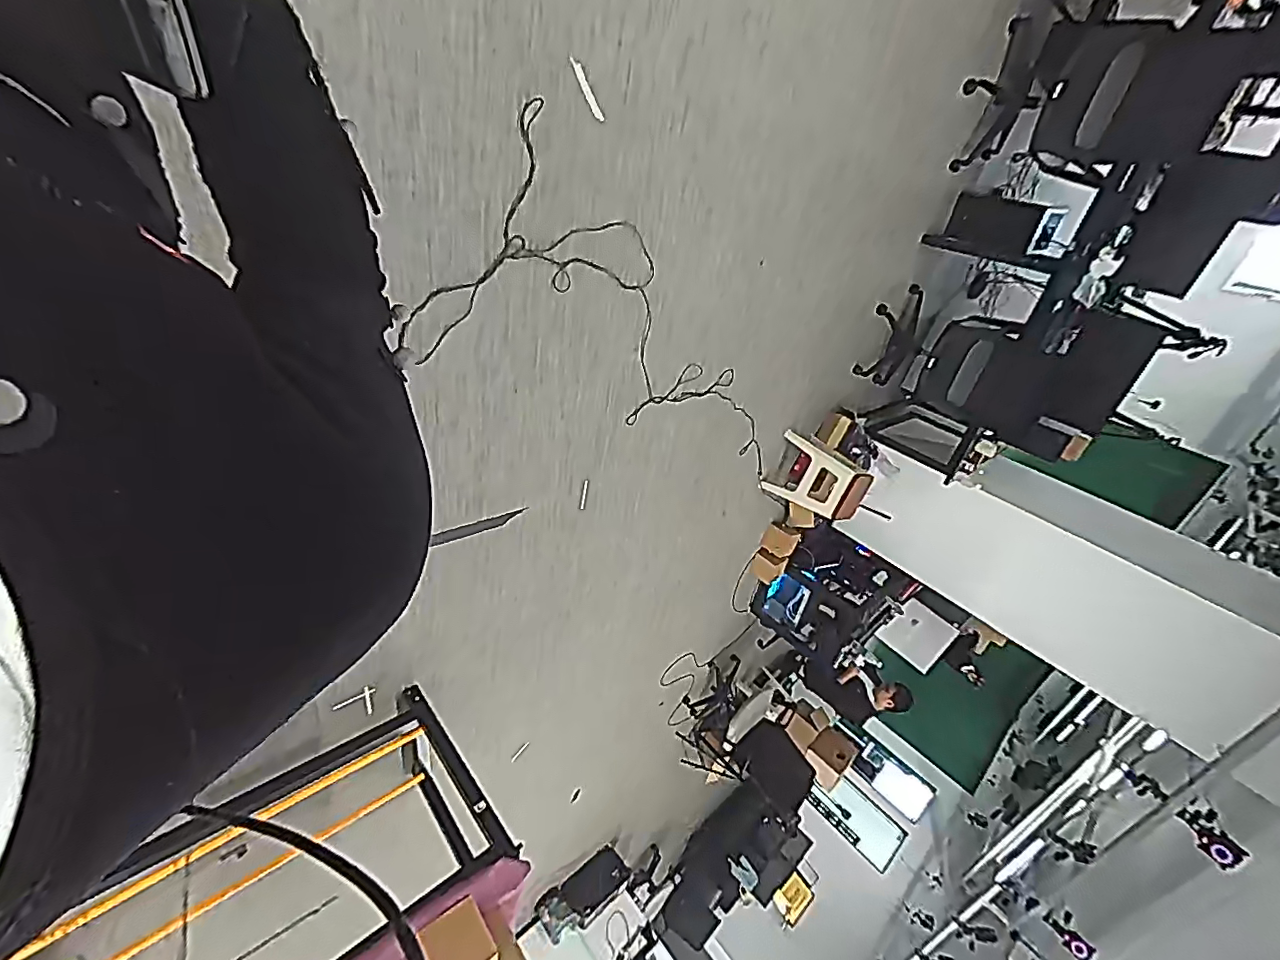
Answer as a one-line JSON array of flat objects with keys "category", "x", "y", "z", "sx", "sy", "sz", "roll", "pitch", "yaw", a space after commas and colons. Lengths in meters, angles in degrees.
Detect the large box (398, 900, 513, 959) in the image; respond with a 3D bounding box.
[{"category": "large box", "x": -0.551, "y": 1.598, "z": 1.635, "sx": 0.320, "sy": 0.320, "sz": 0.408, "roll": -17, "pitch": 130, "yaw": -39}]
